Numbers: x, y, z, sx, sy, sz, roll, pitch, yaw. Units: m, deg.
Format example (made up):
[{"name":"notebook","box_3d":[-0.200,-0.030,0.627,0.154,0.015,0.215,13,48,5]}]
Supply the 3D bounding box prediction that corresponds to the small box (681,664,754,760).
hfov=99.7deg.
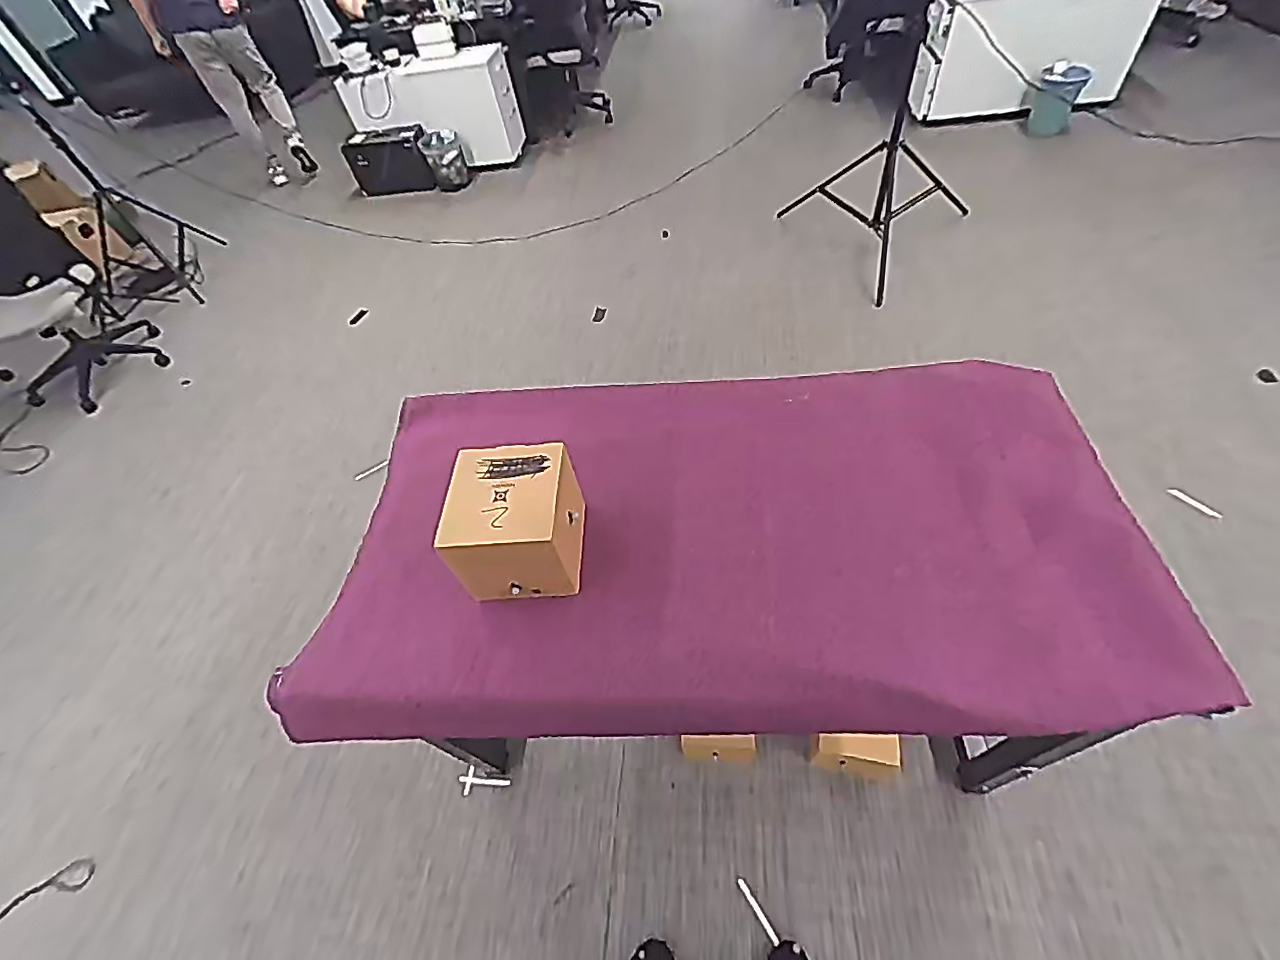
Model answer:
[{"name":"small box","box_3d":[0.193,0.568,1.316,0.168,0.176,0.179,0,52,9]}]

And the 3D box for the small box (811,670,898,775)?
[{"name":"small box","box_3d":[0.498,0.571,1.267,0.168,0.176,0.179,5,53,14]}]
